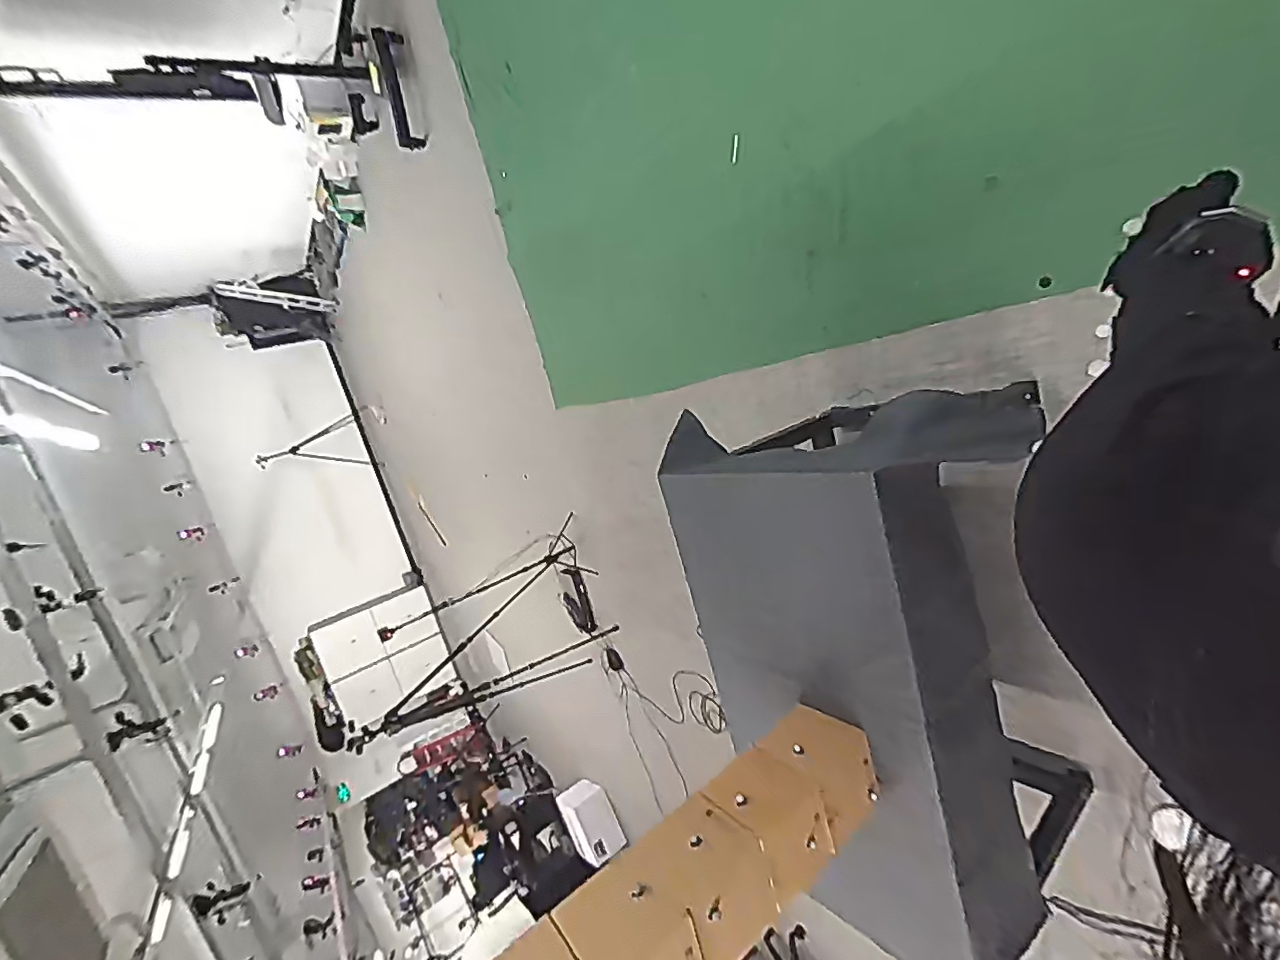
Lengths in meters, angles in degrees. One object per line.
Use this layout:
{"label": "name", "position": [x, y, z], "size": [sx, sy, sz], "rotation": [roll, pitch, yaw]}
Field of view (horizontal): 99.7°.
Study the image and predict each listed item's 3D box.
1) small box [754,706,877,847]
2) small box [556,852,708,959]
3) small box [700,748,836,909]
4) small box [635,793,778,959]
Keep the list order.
{"label": "small box", "position": [0.377, 0.610, 1.142], "size": [0.179, 0.176, 0.168], "rotation": [-1, 108, 57]}
{"label": "small box", "position": [-0.009, 0.757, 0.878], "size": [0.179, 0.176, 0.168], "rotation": [4, 111, 55]}
{"label": "small box", "position": [0.249, 0.660, 1.056], "size": [0.179, 0.176, 0.168], "rotation": [-1, 108, 56]}
{"label": "small box", "position": [0.121, 0.710, 0.965], "size": [0.168, 0.176, 0.179], "rotation": [2, 110, 56]}
